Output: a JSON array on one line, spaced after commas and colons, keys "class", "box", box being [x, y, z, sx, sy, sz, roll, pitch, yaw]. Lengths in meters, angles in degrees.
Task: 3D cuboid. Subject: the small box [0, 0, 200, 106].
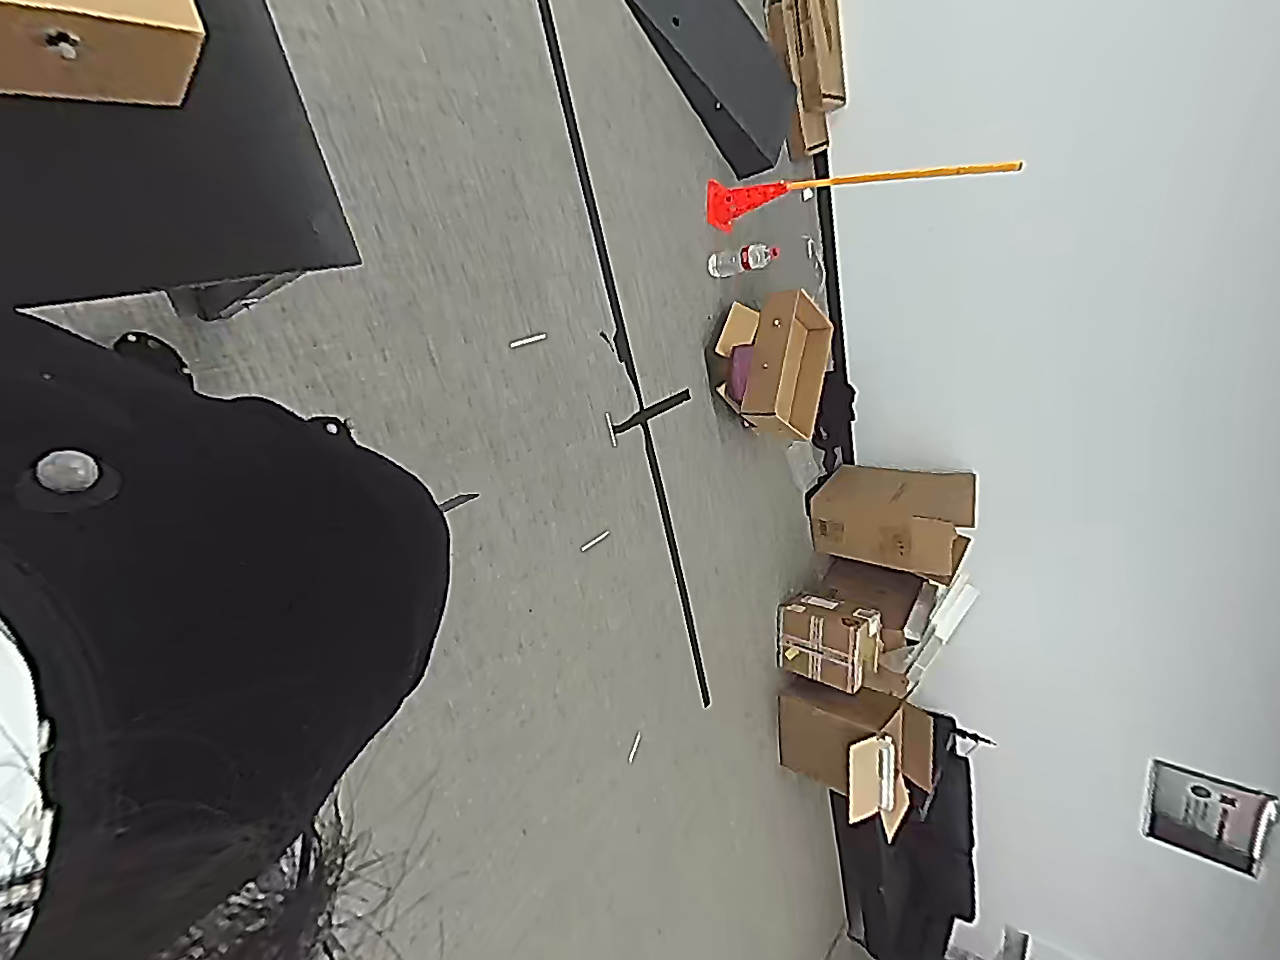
[{"class": "small box", "box": [-0.524, -0.447, 0.460, 0.179, 0.176, 0.168, -30, 116, -42]}]
